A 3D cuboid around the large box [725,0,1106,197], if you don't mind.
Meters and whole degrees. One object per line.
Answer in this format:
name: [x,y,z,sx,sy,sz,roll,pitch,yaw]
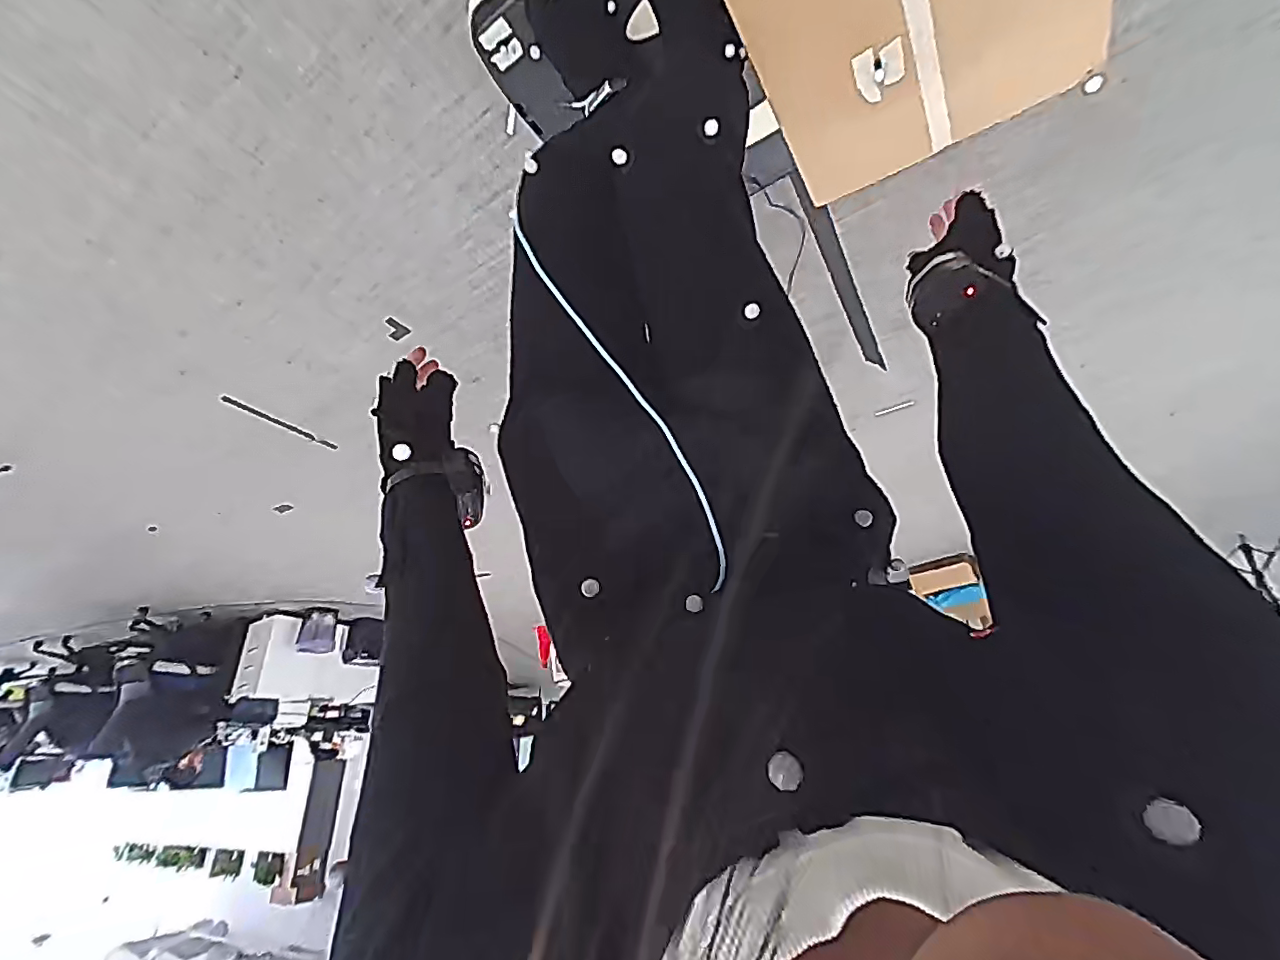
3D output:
large box: [0.259,-0.622,0.574,0.320,0.320,0.408,-13,153,32]
